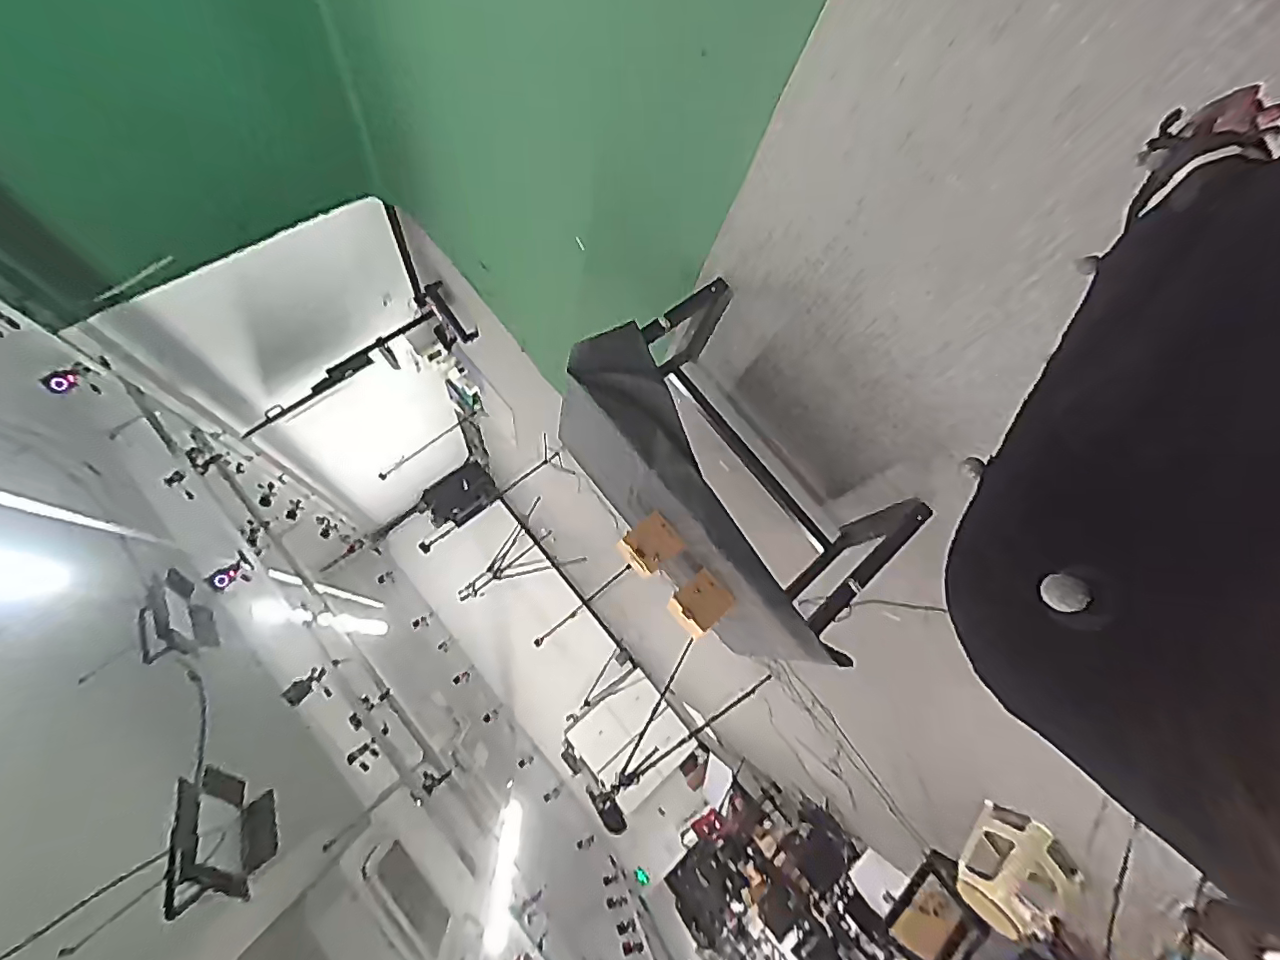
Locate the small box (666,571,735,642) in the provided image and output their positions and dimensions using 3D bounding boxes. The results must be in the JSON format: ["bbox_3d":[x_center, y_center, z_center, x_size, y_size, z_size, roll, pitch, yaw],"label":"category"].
[{"bbox_3d":[0.217,0.451,1.933,0.168,0.176,0.179,48,162,18],"label":"small box"}]
